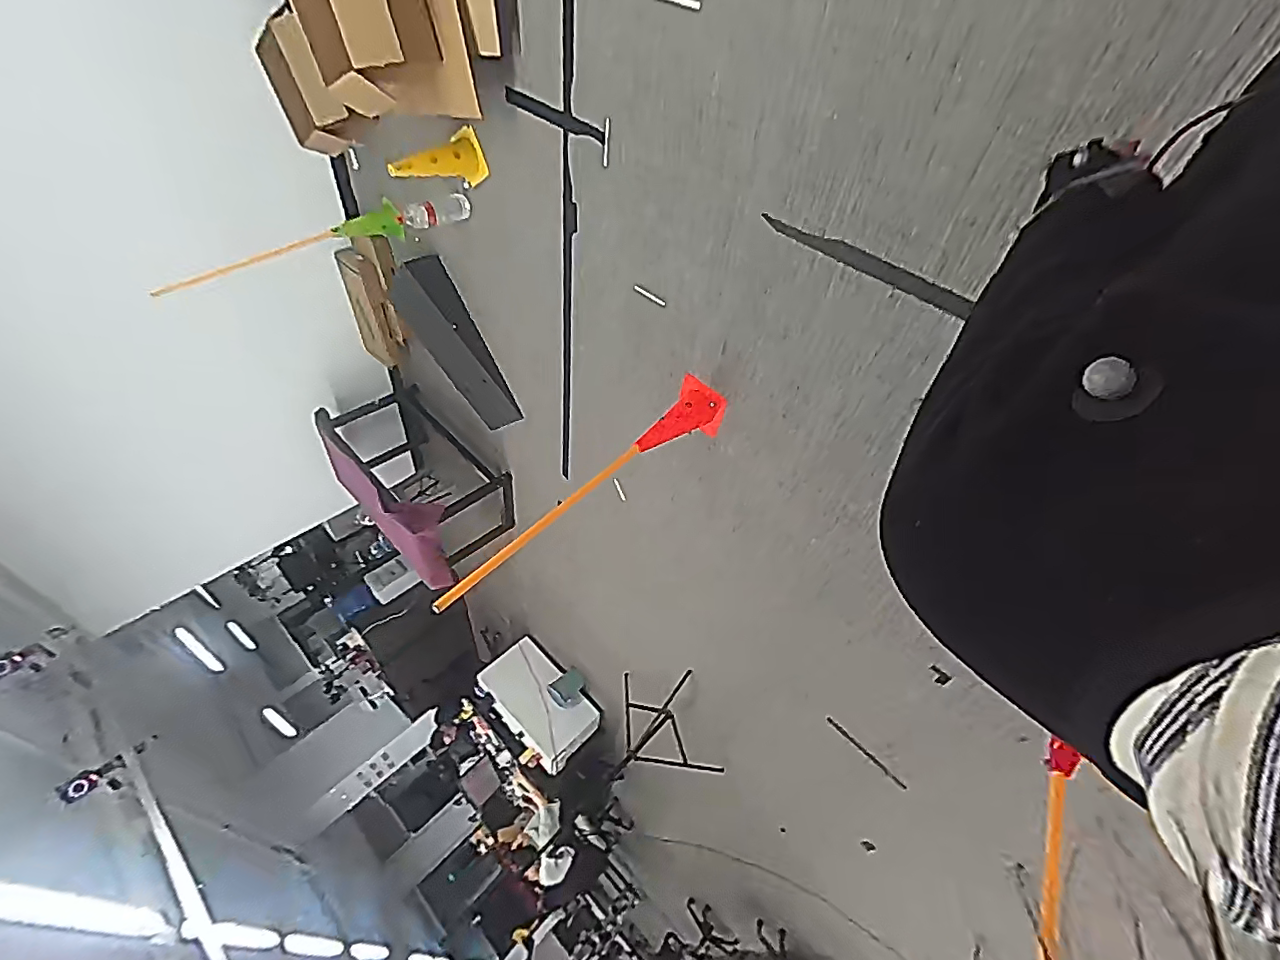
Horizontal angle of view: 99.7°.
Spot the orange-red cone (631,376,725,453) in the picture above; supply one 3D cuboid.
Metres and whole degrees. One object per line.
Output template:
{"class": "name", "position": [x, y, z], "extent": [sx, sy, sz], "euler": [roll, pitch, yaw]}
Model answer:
{"class": "orange-red cone", "position": [0.102, -0.191, 1.933], "extent": [0.199, 0.360, 0.198], "euler": [41, 144, 21]}
